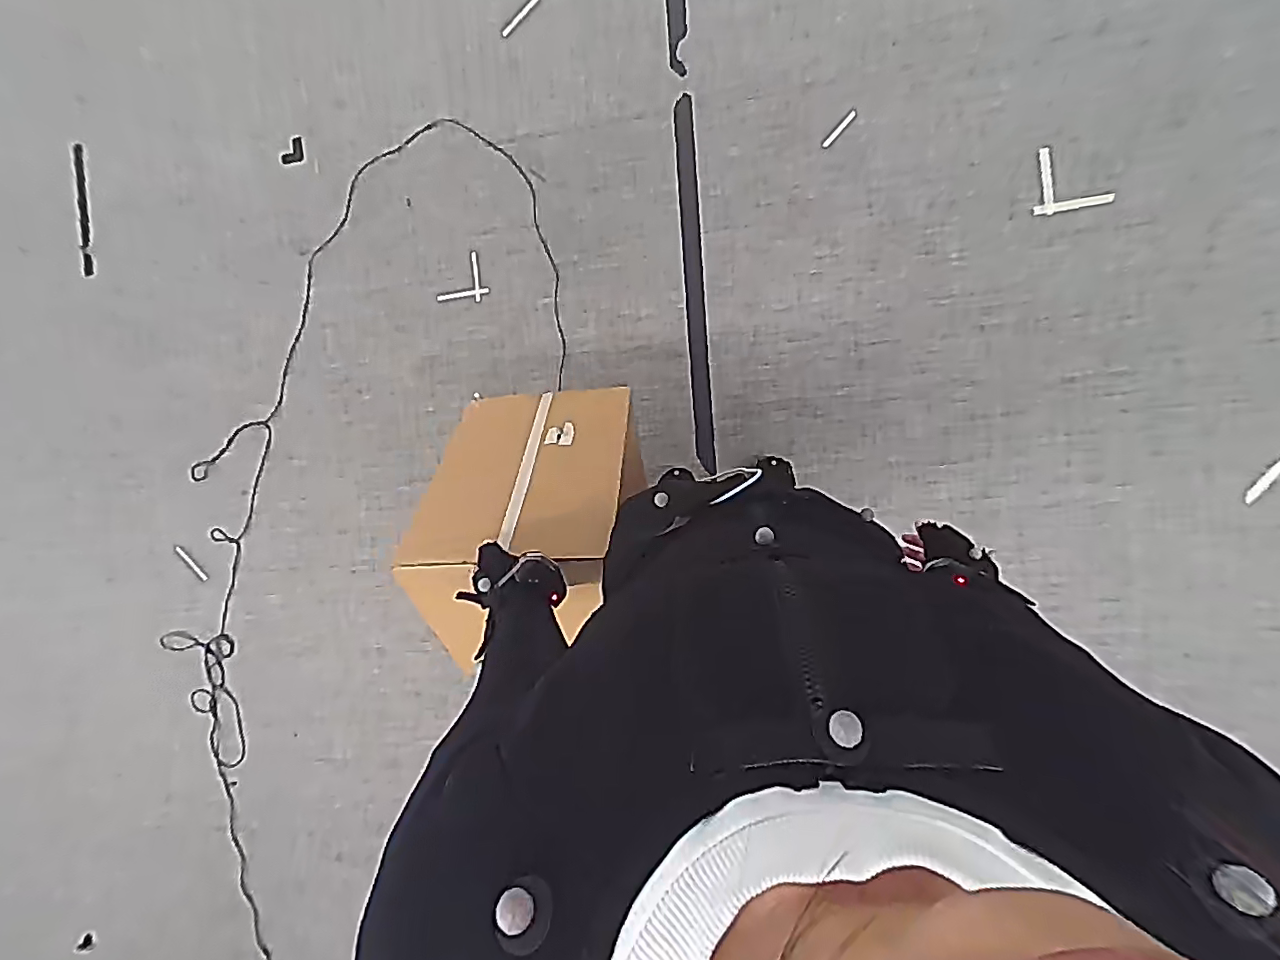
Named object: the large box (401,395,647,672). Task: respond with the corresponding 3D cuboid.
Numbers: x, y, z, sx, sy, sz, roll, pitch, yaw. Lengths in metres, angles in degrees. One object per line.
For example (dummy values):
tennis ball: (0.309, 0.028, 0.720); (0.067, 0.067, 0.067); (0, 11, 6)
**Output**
large box: (-0.163, 0.093, 0.992); (0.320, 0.408, 0.320); (-3, 132, 7)
